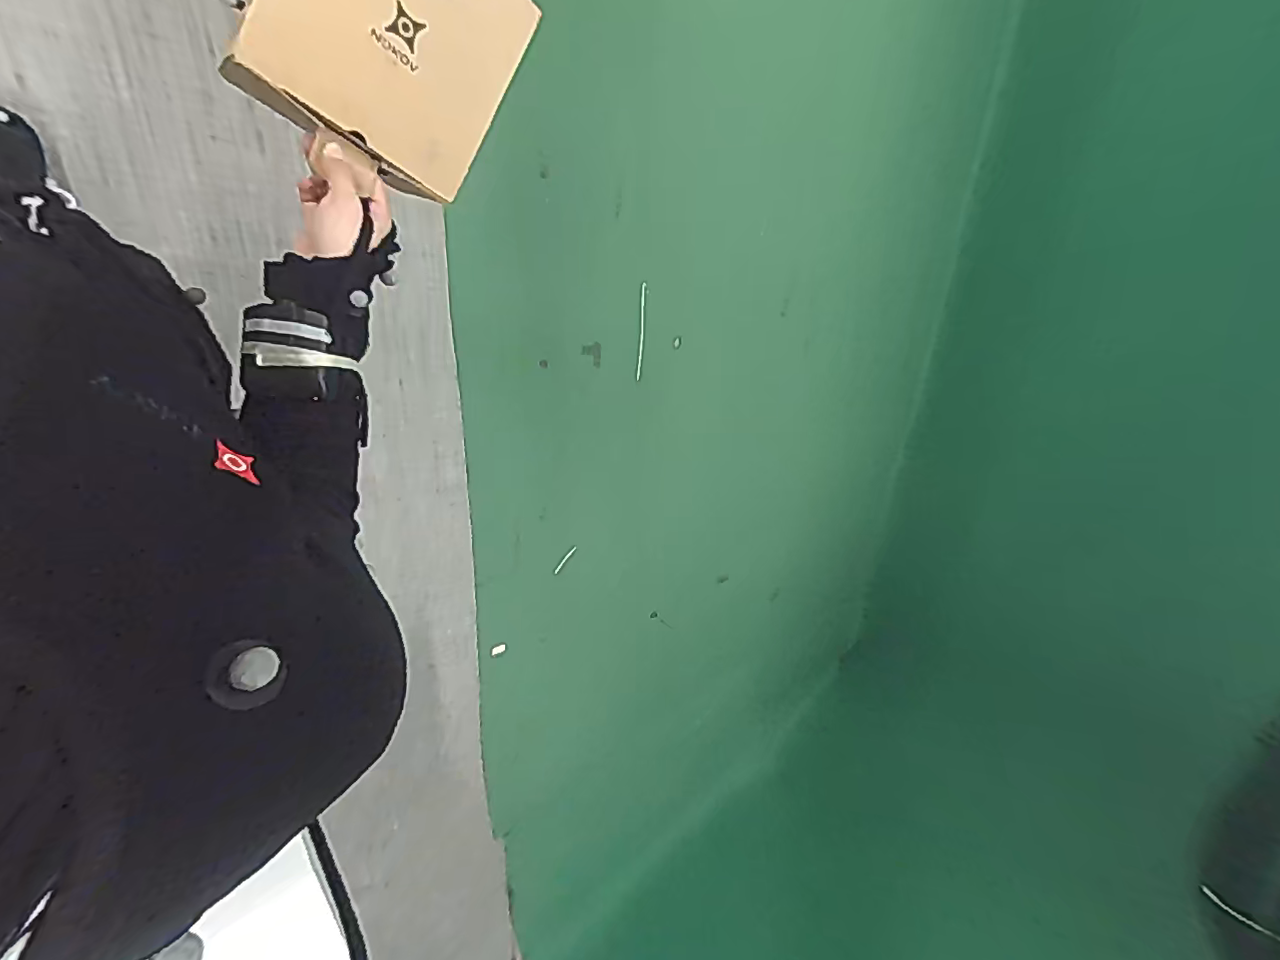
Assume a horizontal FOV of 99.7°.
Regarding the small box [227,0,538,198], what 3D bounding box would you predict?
[{"bbox_3d":[-0.223,-0.373,0.456,0.168,0.176,0.179,20,102,-46],"label":"small box"}]
